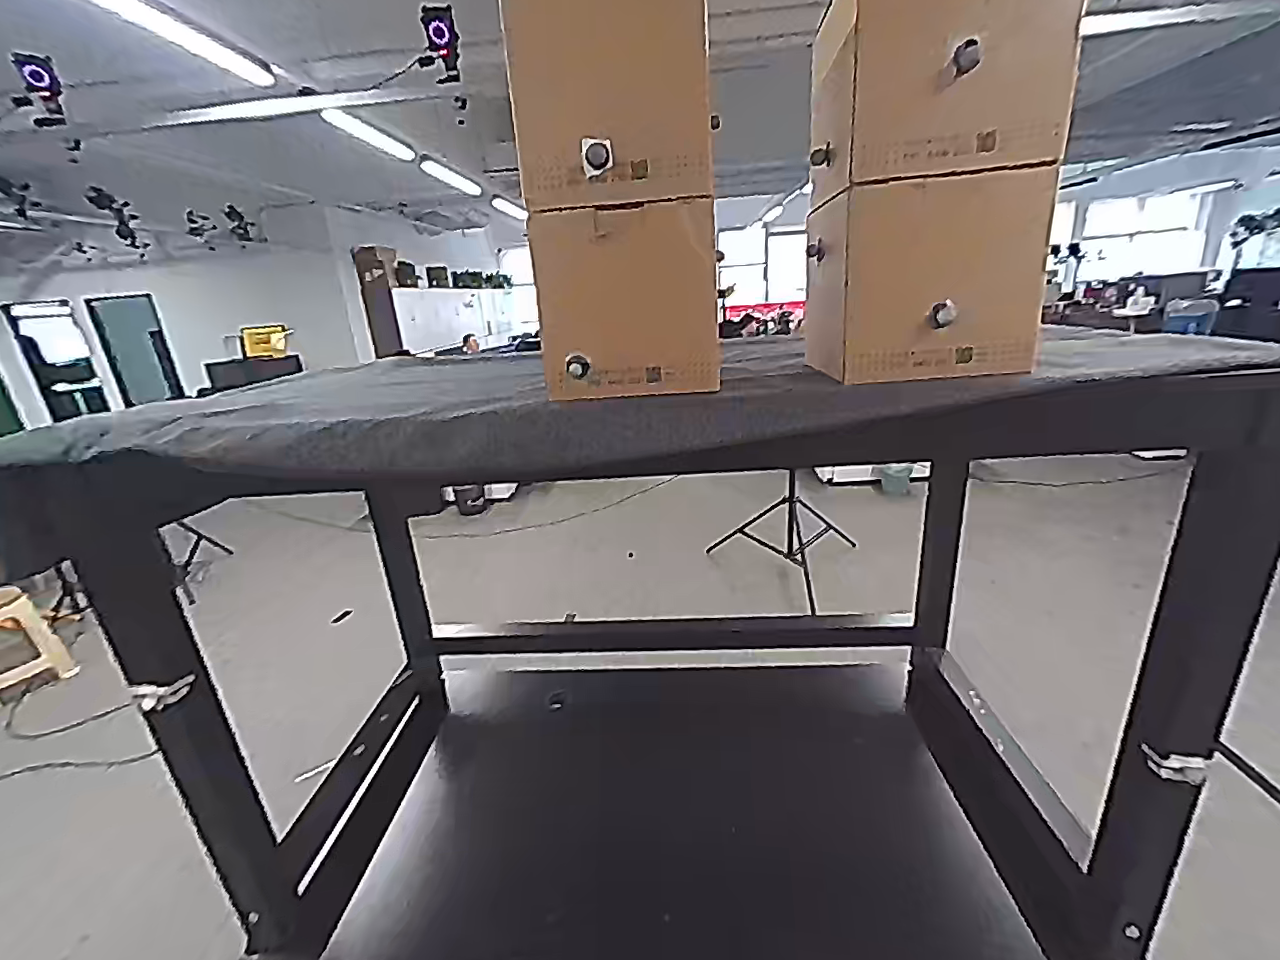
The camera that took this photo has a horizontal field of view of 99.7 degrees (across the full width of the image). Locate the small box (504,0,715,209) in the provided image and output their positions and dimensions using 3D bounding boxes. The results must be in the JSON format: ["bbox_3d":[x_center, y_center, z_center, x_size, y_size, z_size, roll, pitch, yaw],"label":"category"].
[{"bbox_3d":[-0.017,-0.340,0.517,0.168,0.176,0.179,-3,18,6],"label":"small box"}]

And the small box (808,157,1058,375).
[{"bbox_3d":[0.267,-0.200,0.542,0.168,0.176,0.179,-4,18,6],"label":"small box"}]

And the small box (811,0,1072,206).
[{"bbox_3d":[0.256,-0.356,0.492,0.168,0.176,0.179,-3,19,7],"label":"small box"}]

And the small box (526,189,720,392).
[{"bbox_3d":[-0.007,-0.185,0.564,0.168,0.176,0.179,-3,17,5],"label":"small box"}]
